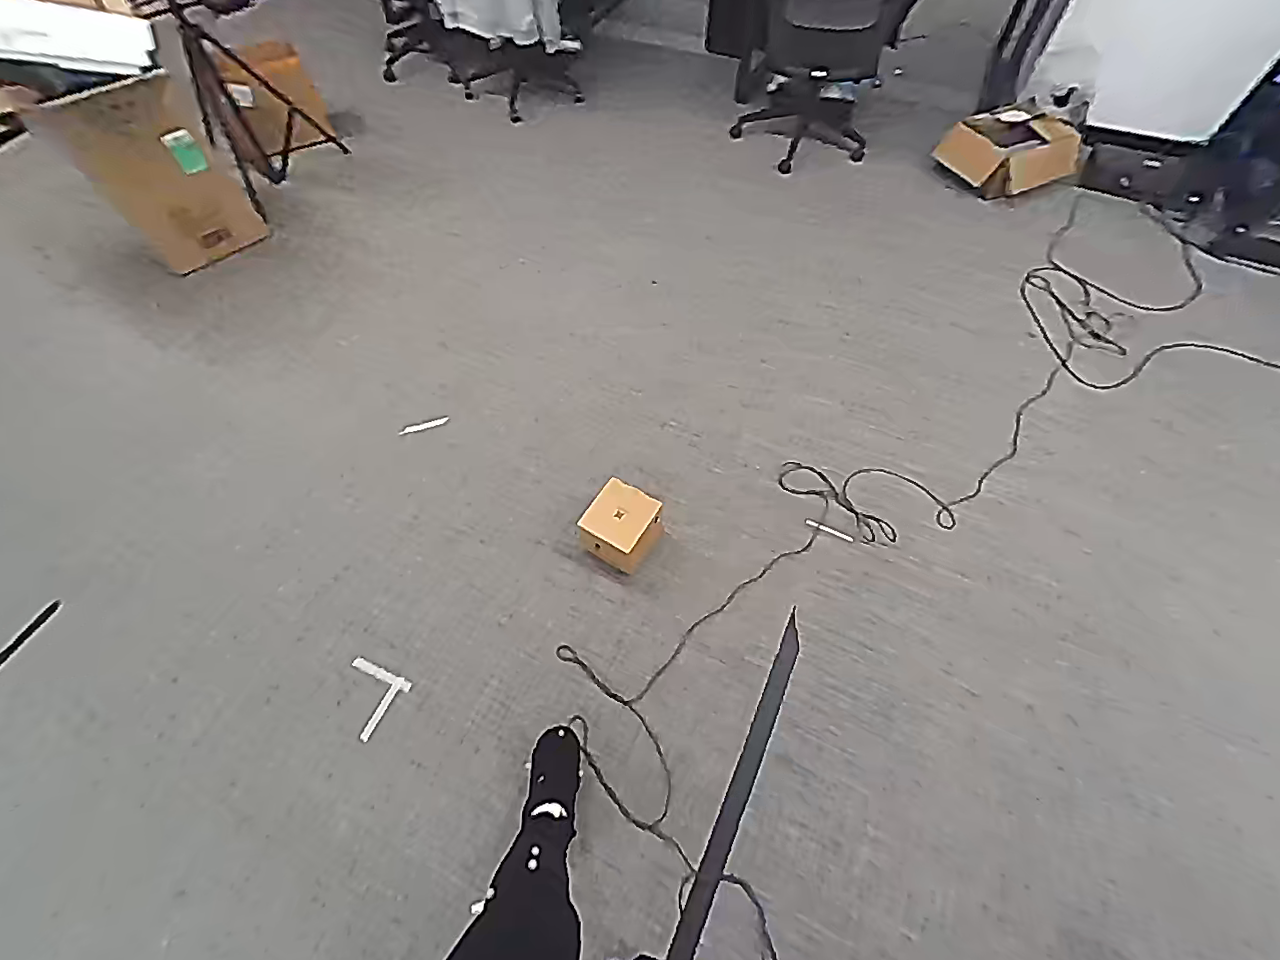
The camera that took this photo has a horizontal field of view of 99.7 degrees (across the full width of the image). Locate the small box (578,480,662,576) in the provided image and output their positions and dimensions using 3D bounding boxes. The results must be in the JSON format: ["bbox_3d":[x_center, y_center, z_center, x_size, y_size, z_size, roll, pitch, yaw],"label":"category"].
[{"bbox_3d":[-0.048,0.138,1.501,0.168,0.176,0.179,27,63,17],"label":"small box"}]
